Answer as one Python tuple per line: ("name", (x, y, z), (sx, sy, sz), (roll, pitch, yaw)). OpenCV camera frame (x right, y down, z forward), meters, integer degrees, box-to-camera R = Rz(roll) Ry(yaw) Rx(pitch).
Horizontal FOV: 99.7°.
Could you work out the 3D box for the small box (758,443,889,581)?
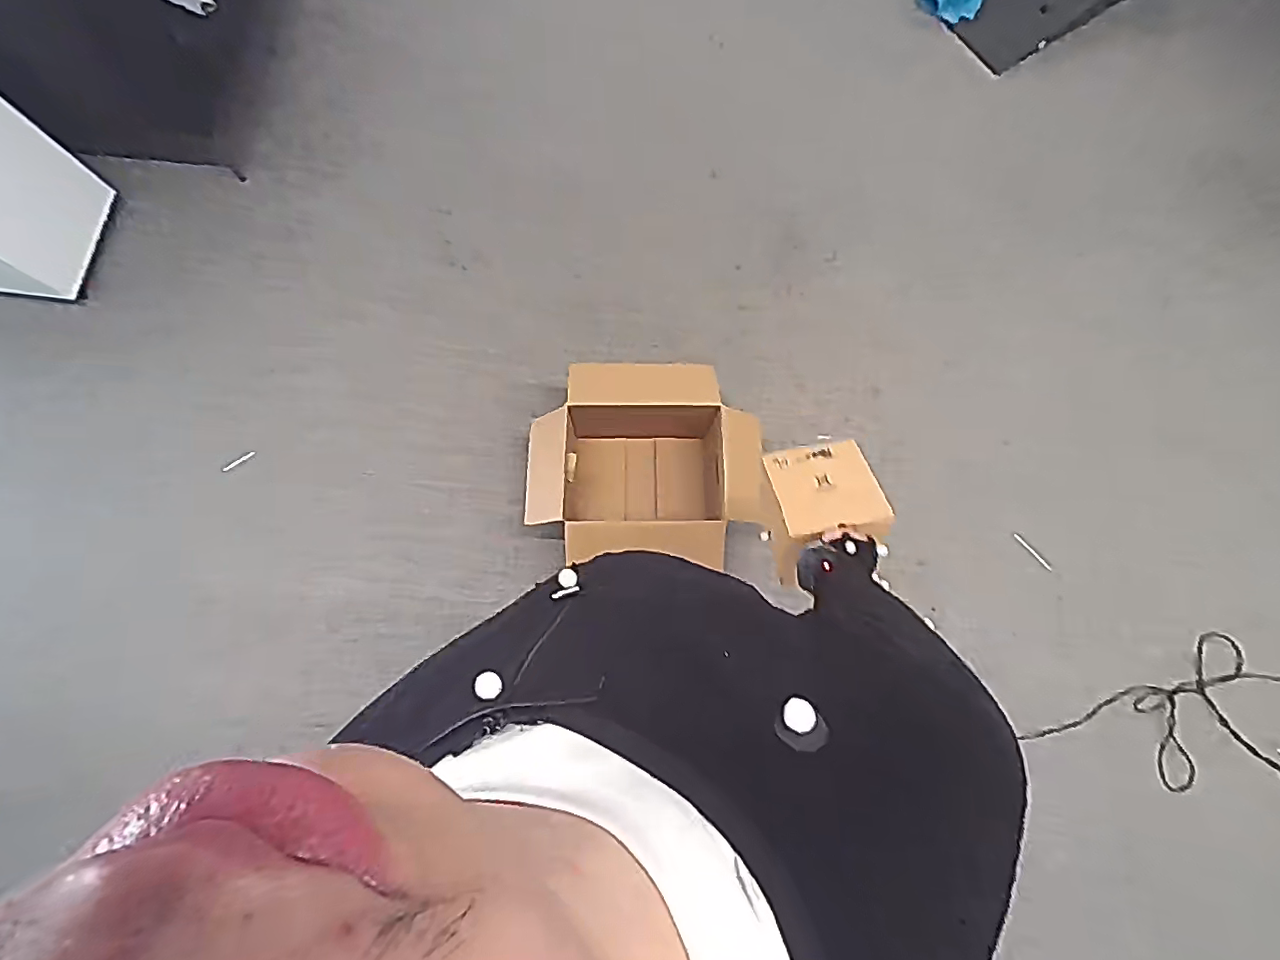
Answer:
("small box", (0.310, 0.064, 0.954), (0.168, 0.176, 0.179), (-9, 50, 1))
